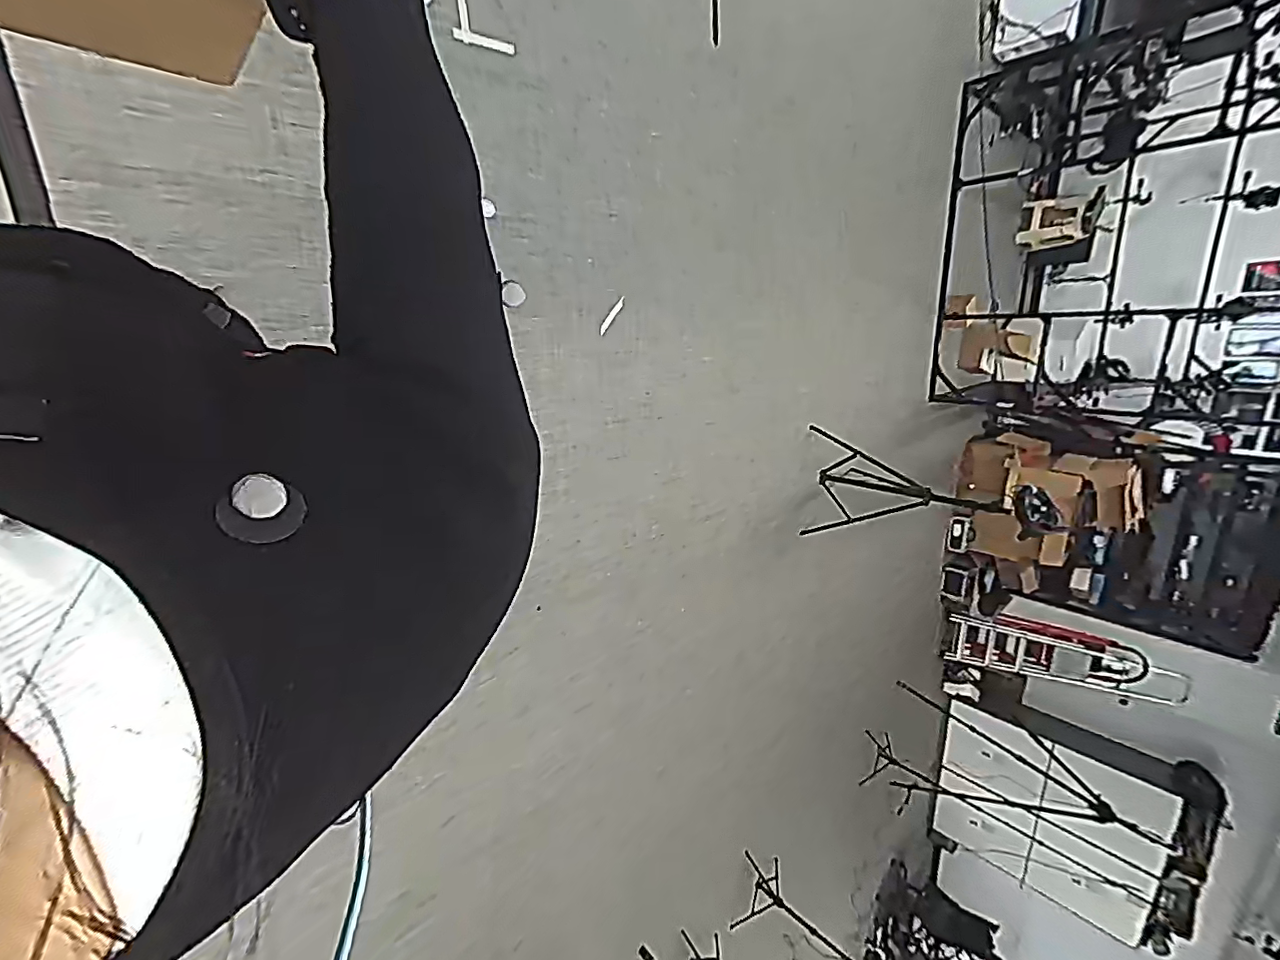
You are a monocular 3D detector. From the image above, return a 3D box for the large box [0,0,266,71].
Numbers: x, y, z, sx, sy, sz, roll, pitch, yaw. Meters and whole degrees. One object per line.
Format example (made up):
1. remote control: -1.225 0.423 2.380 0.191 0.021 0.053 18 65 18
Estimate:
1. large box: -0.488 -0.520 0.318 0.408 0.320 0.320 -13 113 -42
